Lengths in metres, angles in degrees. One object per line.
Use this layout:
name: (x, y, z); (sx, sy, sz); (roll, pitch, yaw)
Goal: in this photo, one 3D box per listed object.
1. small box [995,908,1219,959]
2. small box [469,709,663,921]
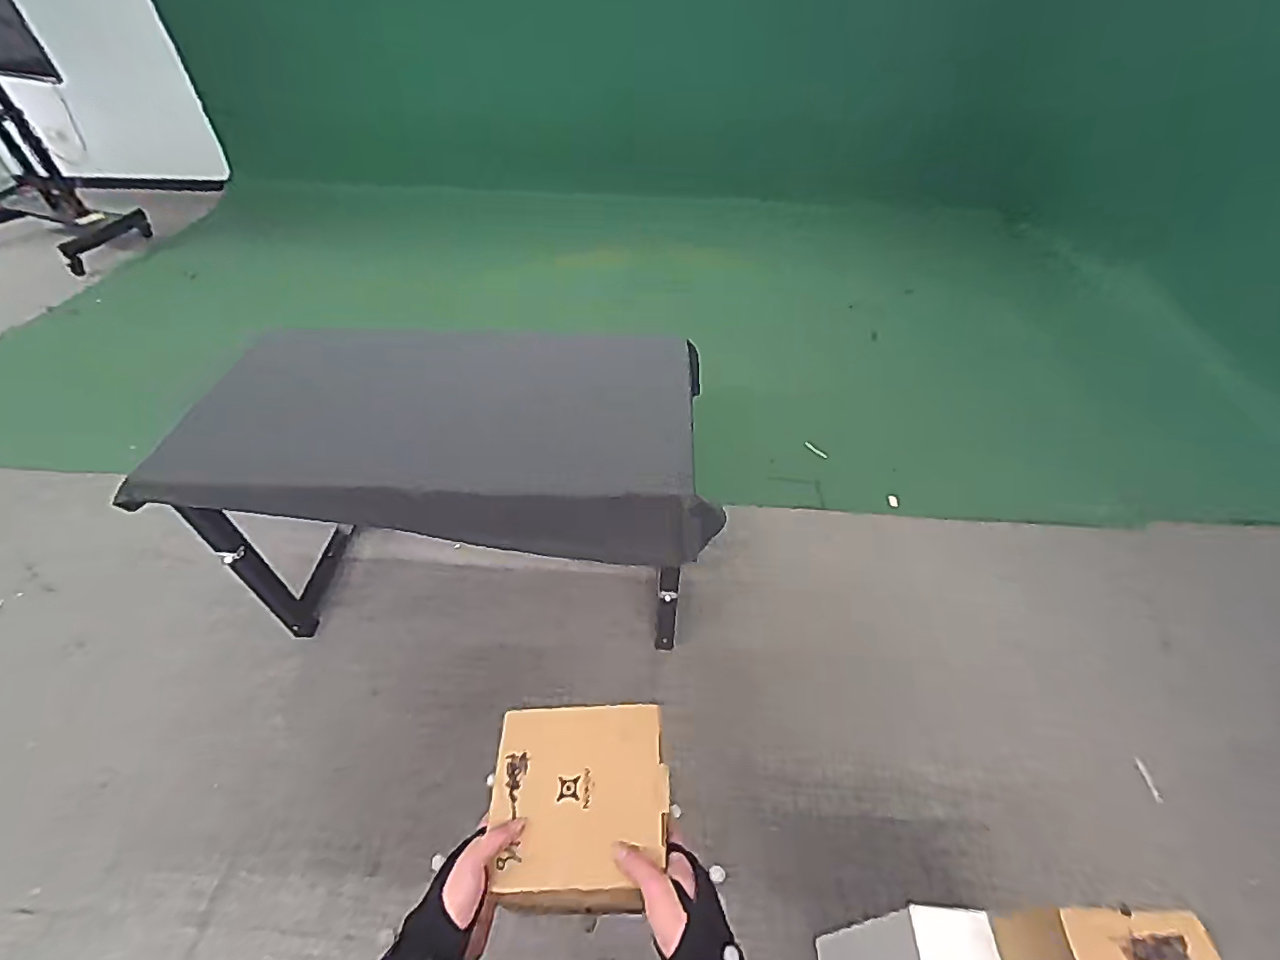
small box: (0.560, 0.622, 0.631); (0.168, 0.176, 0.179); (2, 48, 1)
small box: (-0.065, 0.368, 0.595); (0.179, 0.176, 0.168); (-3, 44, 1)
